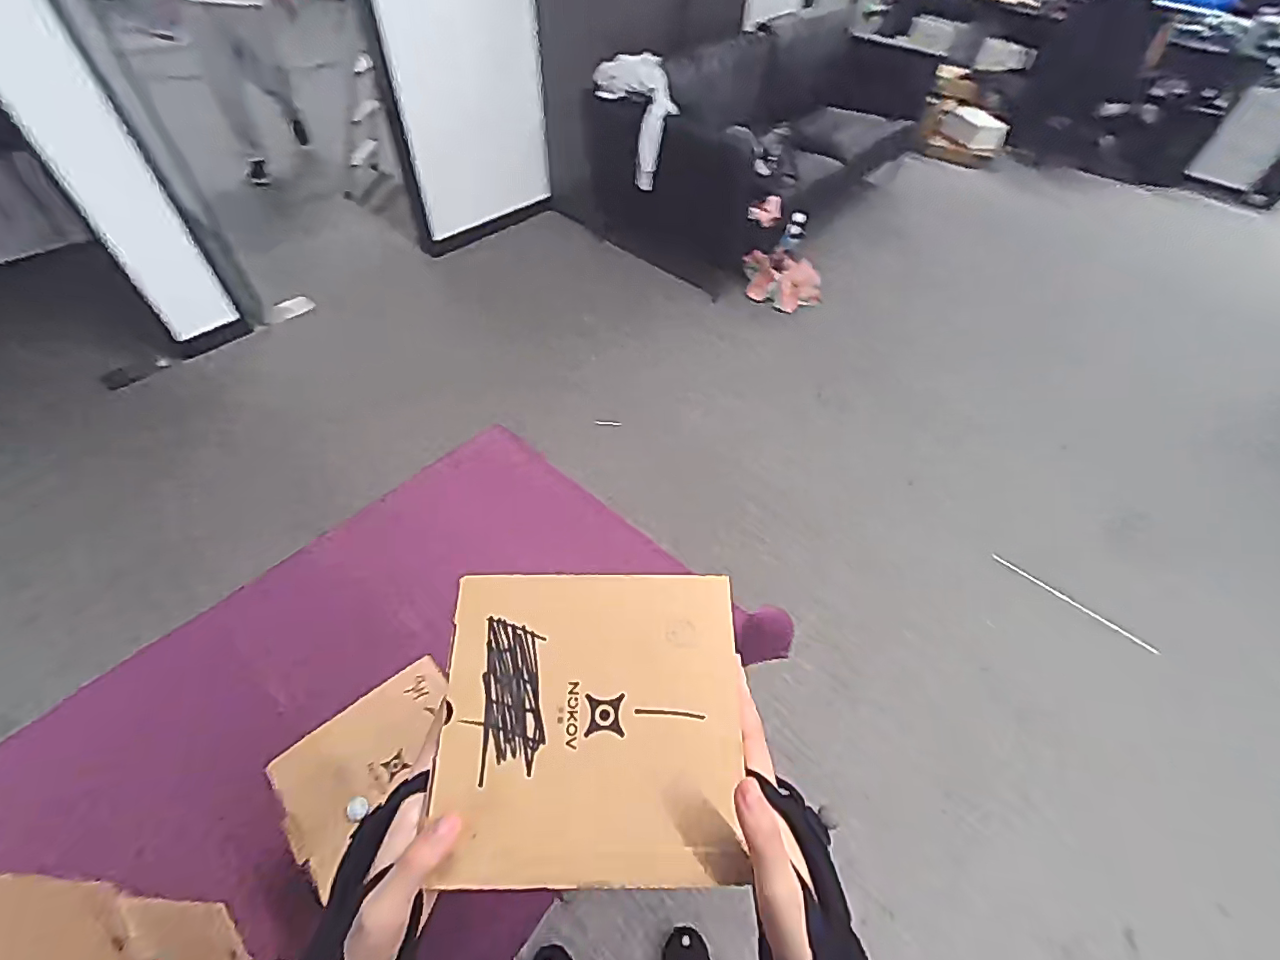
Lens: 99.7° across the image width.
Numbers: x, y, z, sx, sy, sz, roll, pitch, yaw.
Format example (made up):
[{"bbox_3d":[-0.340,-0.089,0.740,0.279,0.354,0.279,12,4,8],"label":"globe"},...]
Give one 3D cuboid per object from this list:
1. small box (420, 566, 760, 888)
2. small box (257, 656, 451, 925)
[{"bbox_3d":[-0.024,0.168,0.379,0.179,0.176,0.168,2,62,-1],"label":"small box"},{"bbox_3d":[-0.258,0.334,0.584,0.179,0.176,0.168,-33,60,-27],"label":"small box"}]
